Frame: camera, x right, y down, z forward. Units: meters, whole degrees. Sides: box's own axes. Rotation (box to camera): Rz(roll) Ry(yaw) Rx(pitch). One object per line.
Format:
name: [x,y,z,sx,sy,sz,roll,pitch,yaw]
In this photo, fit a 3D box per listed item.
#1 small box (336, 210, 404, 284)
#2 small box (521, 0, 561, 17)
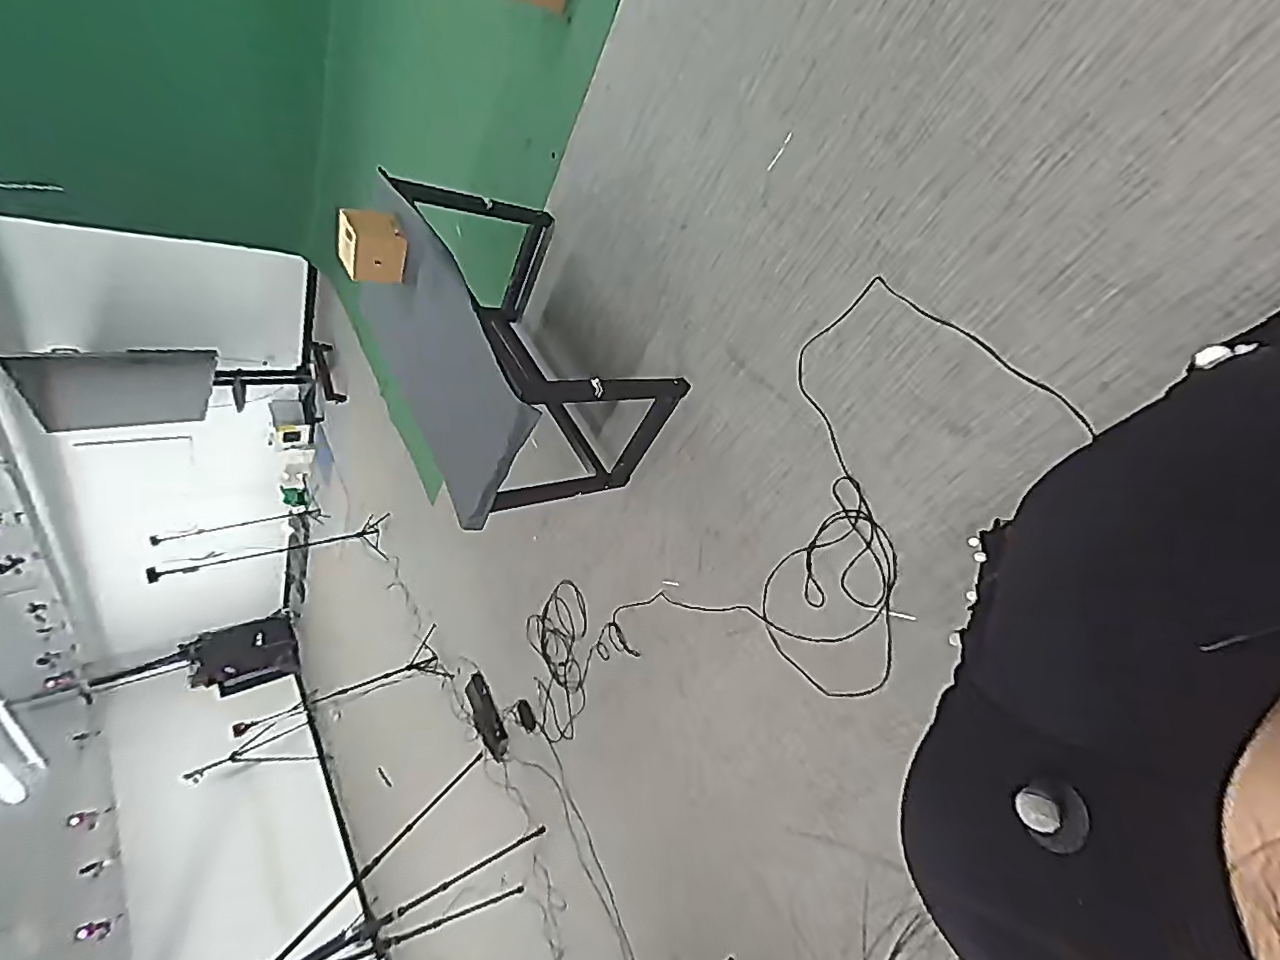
small box: [-0.941,-0.810,1.888,0.168,0.176,0.179,54,135,23]
small box: [-0.406,-2.002,2.151,0.168,0.176,0.179,54,132,23]
